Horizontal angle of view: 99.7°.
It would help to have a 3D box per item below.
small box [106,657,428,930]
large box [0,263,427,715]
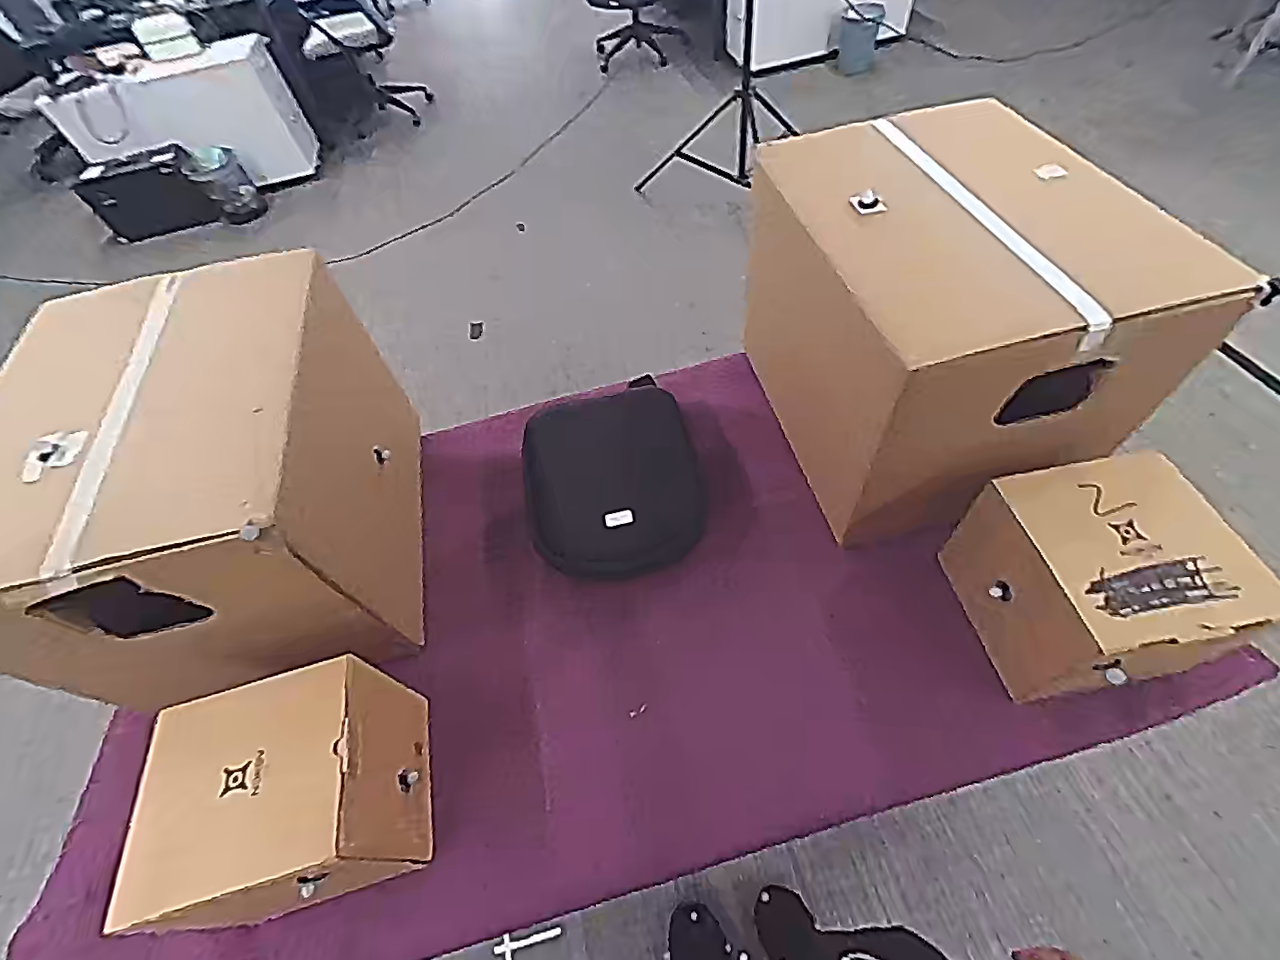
[{"bbox_3d":[-0.324,0.298,0.516,0.179,0.176,0.168,-17,53,-5],"label":"small box"},{"bbox_3d":[-0.473,0.014,0.651,0.320,0.320,0.408,-15,56,-5],"label":"large box"}]
